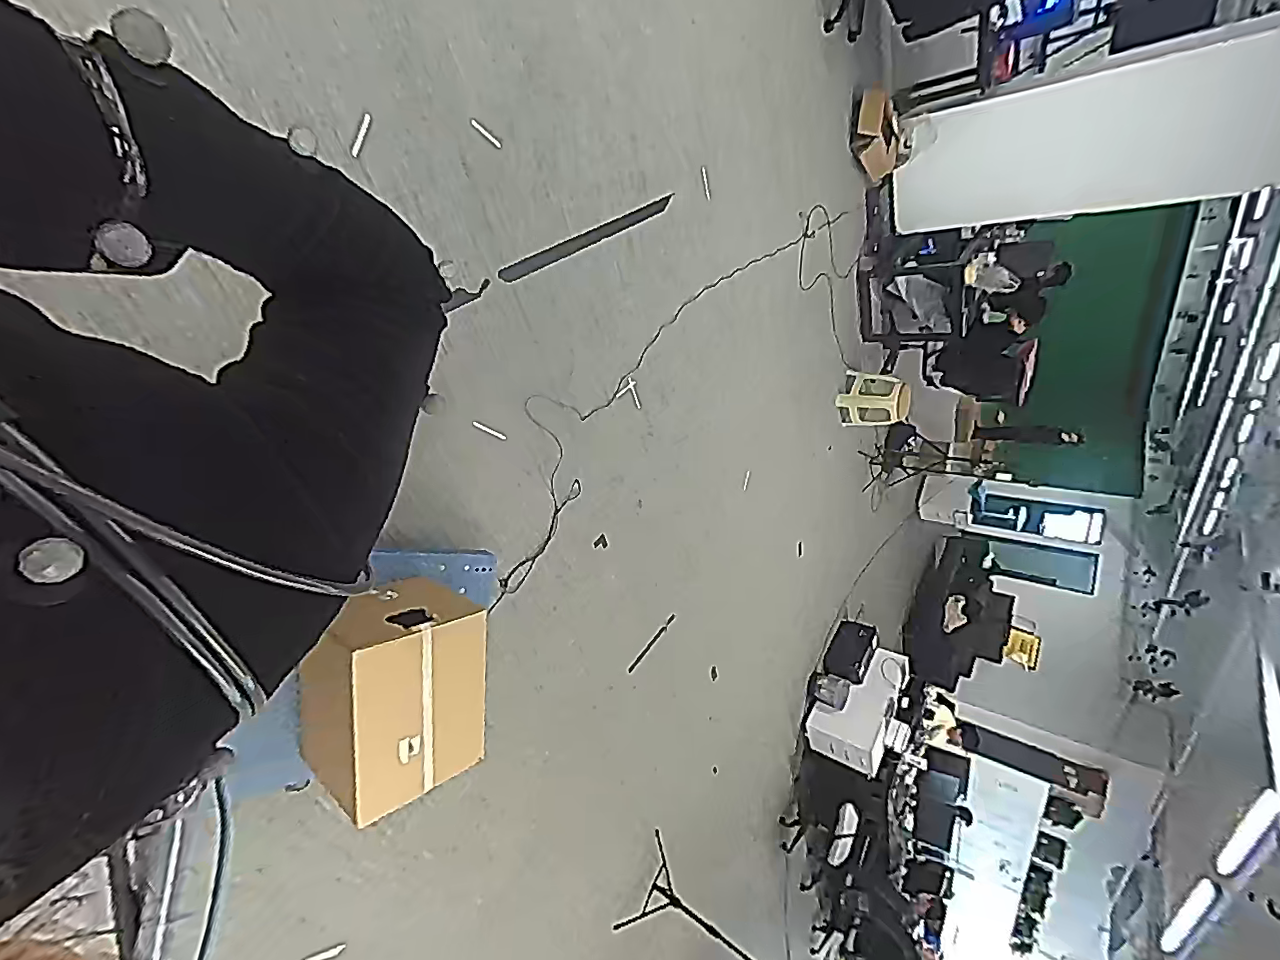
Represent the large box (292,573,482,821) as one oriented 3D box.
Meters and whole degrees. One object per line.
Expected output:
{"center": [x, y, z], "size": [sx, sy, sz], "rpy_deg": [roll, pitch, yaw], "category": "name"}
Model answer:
{"center": [-0.601, 0.483, 1.299], "size": [0.320, 0.320, 0.408], "rpy_deg": [-8, 106, -50], "category": "large box"}
